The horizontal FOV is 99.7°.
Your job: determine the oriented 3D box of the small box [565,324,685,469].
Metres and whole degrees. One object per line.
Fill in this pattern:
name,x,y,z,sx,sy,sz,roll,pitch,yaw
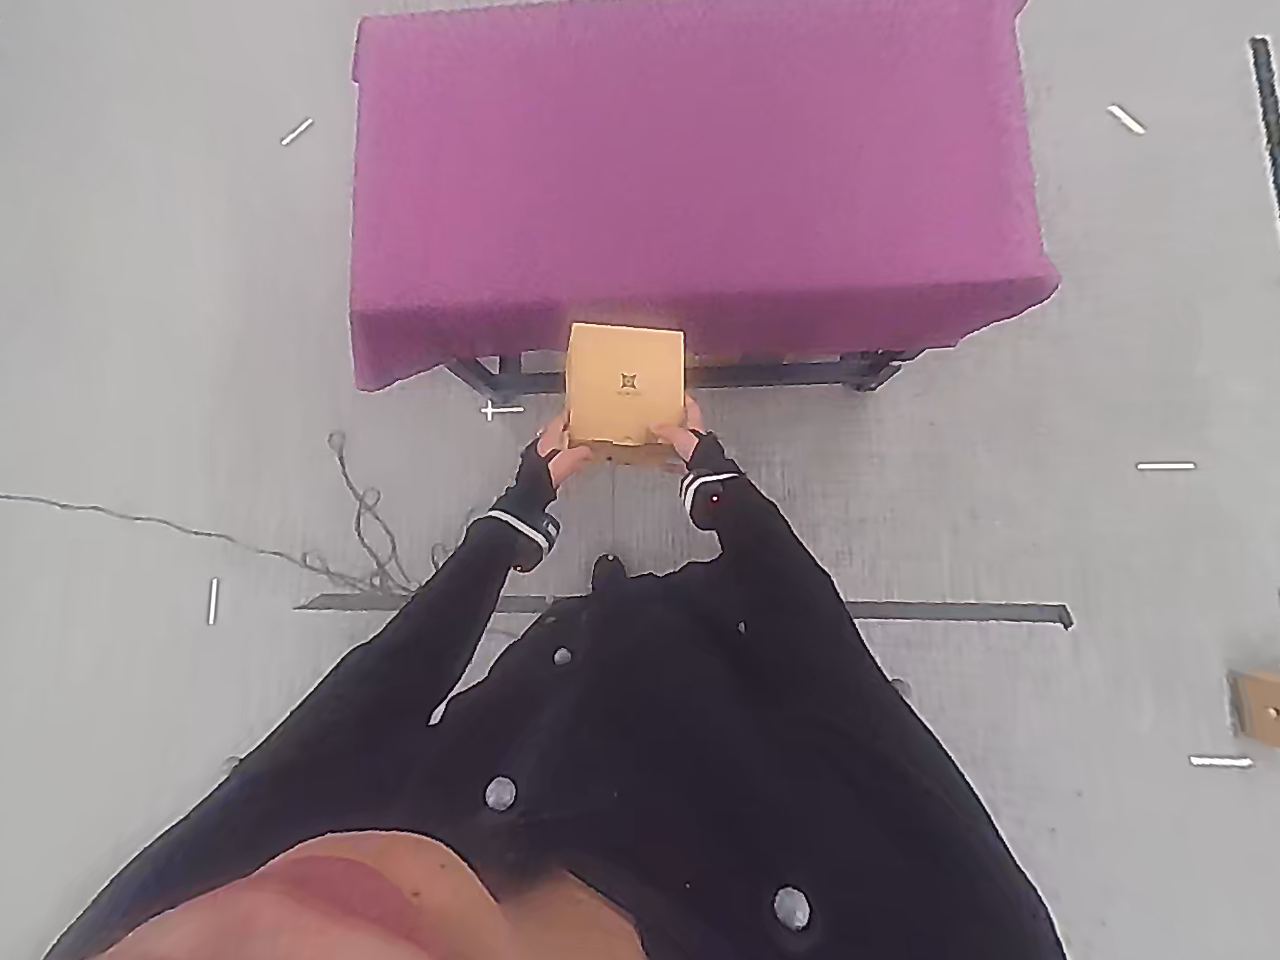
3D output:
small box,-0.030,-0.122,0.852,0.168,0.176,0.179,3,81,-10

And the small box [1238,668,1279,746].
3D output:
small box,1.693,0.588,1.370,0.168,0.176,0.179,-3,83,4
